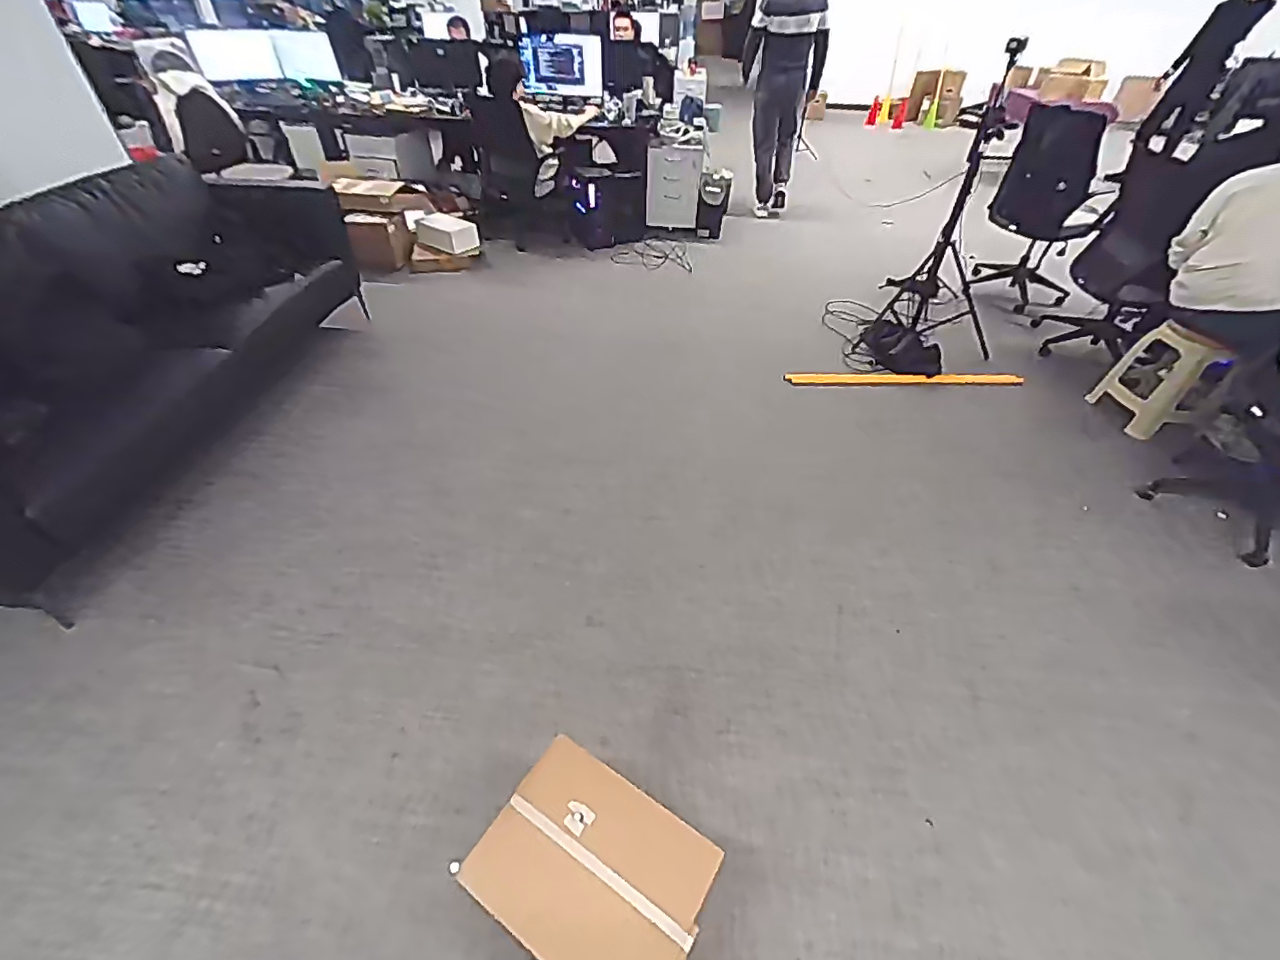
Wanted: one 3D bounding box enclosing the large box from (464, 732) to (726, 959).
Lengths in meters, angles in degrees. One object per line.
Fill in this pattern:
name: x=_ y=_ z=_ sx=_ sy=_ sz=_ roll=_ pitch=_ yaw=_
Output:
large box: x=-0.078 y=0.817 z=1.116 sx=0.408 sy=0.320 sz=0.320 roll=24 pitch=48 yaw=24
